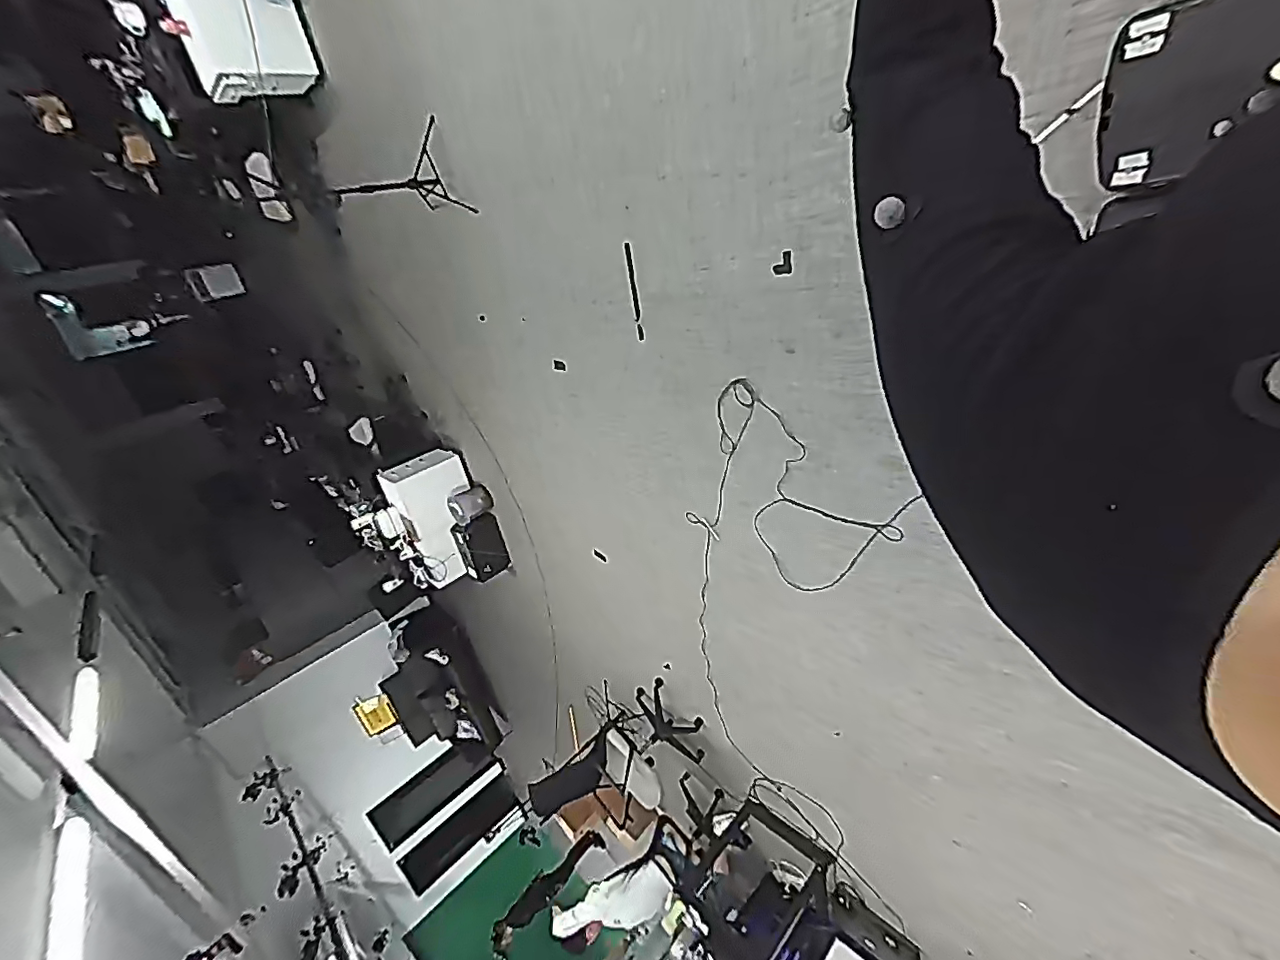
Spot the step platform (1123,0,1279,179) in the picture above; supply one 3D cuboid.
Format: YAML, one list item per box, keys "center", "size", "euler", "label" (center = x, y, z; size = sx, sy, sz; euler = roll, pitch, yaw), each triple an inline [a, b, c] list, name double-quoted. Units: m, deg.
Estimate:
- center: [1.156, -0.664, 0.783]
  size: [0.684, 0.204, 0.286]
  euler: [13, 125, 45]
  label: "step platform"
